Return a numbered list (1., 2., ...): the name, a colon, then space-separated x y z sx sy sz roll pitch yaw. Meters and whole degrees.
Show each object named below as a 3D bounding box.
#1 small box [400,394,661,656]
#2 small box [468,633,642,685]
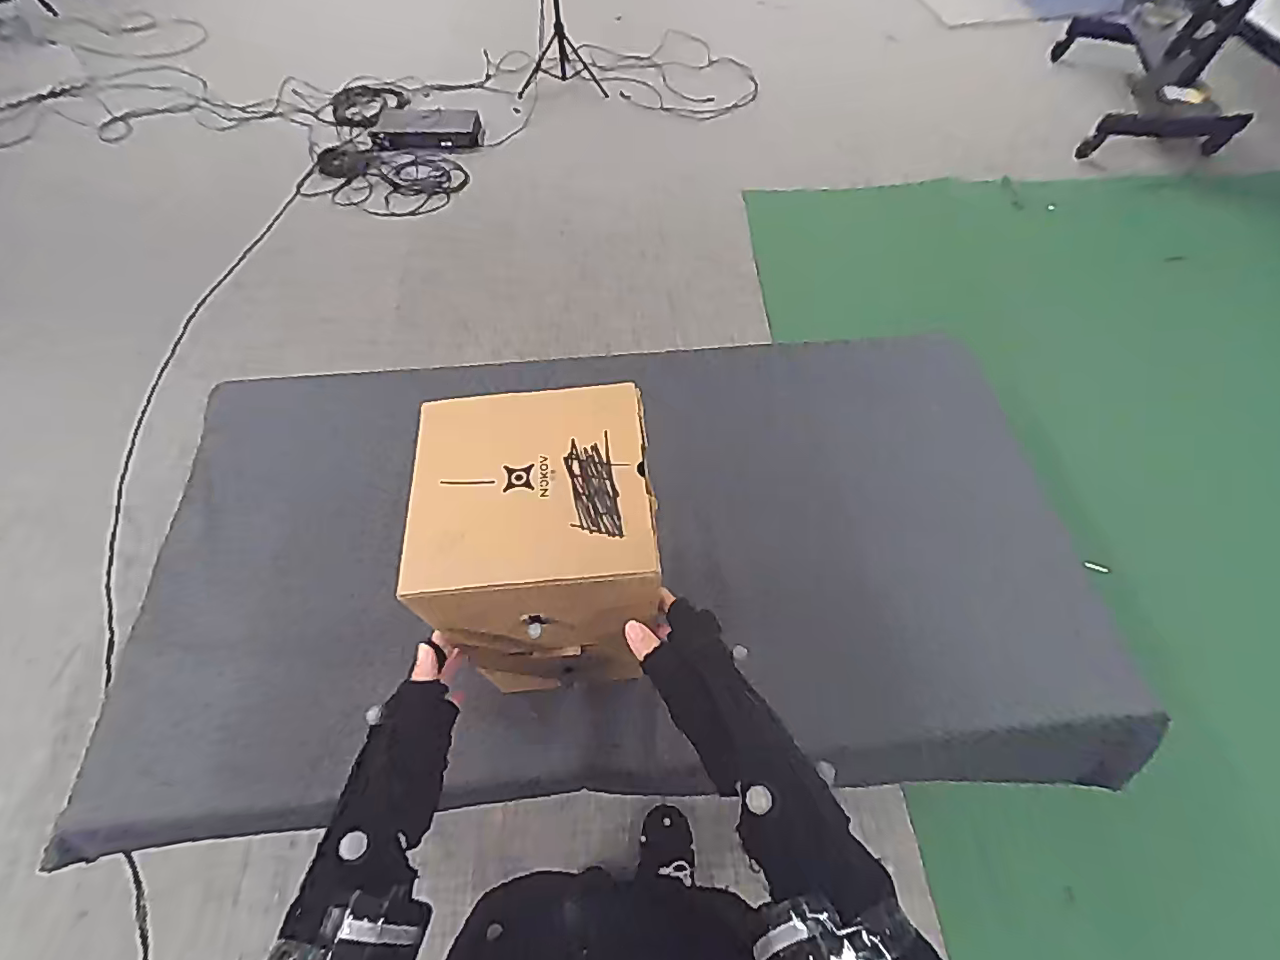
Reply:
1. small box: -0.080 0.046 0.468 0.179 0.176 0.168 -5 60 -2
2. small box: -0.087 0.127 0.612 0.168 0.176 0.179 -6 60 -4
